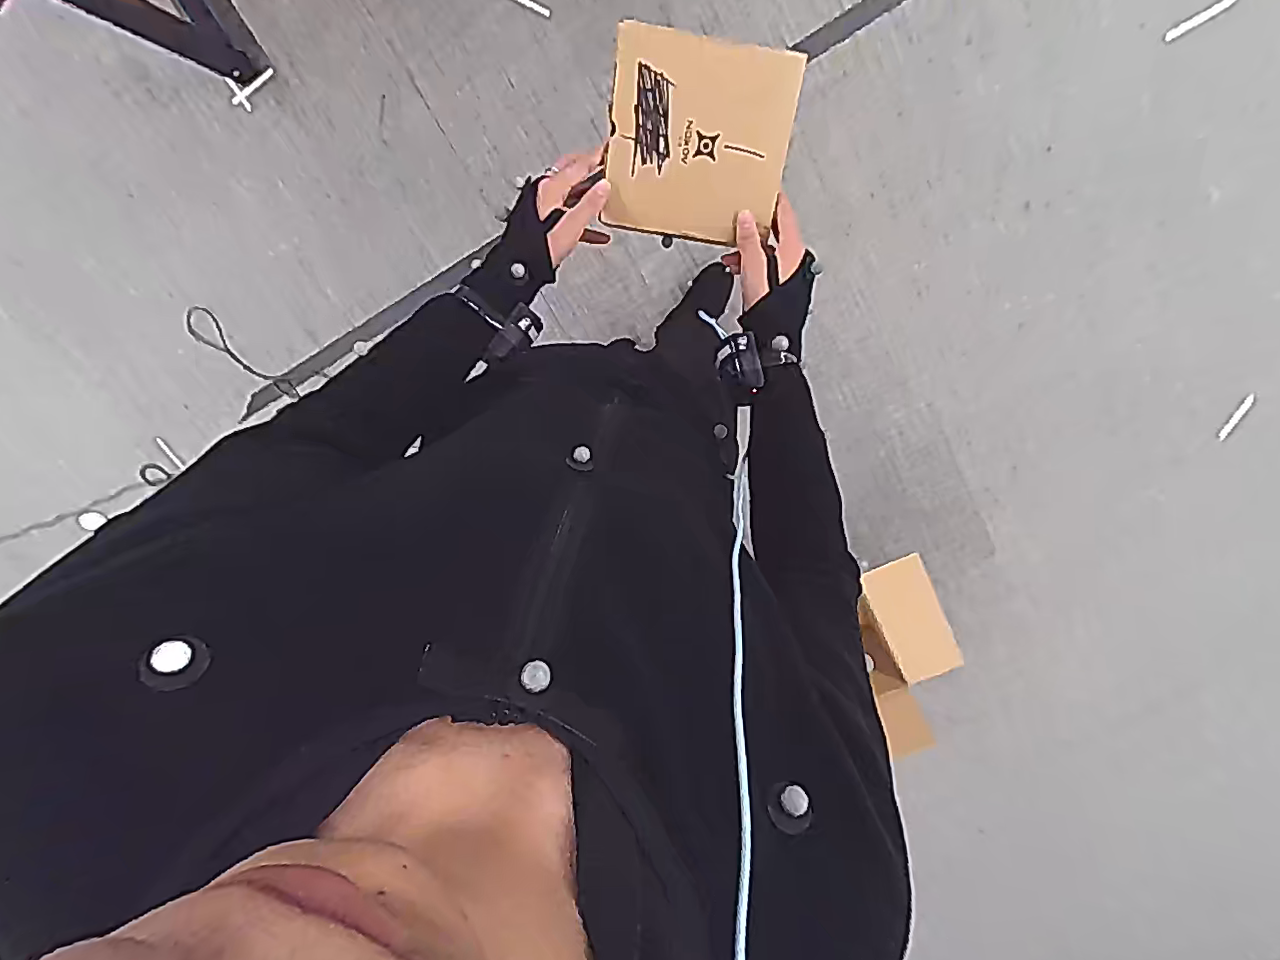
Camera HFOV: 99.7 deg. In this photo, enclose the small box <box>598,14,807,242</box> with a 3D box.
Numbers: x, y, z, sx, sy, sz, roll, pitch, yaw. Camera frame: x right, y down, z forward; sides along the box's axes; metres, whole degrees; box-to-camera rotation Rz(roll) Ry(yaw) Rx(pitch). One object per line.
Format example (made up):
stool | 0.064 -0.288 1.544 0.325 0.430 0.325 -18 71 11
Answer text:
small box | 0.054 -0.358 0.585 0.179 0.176 0.168 7 114 -4
